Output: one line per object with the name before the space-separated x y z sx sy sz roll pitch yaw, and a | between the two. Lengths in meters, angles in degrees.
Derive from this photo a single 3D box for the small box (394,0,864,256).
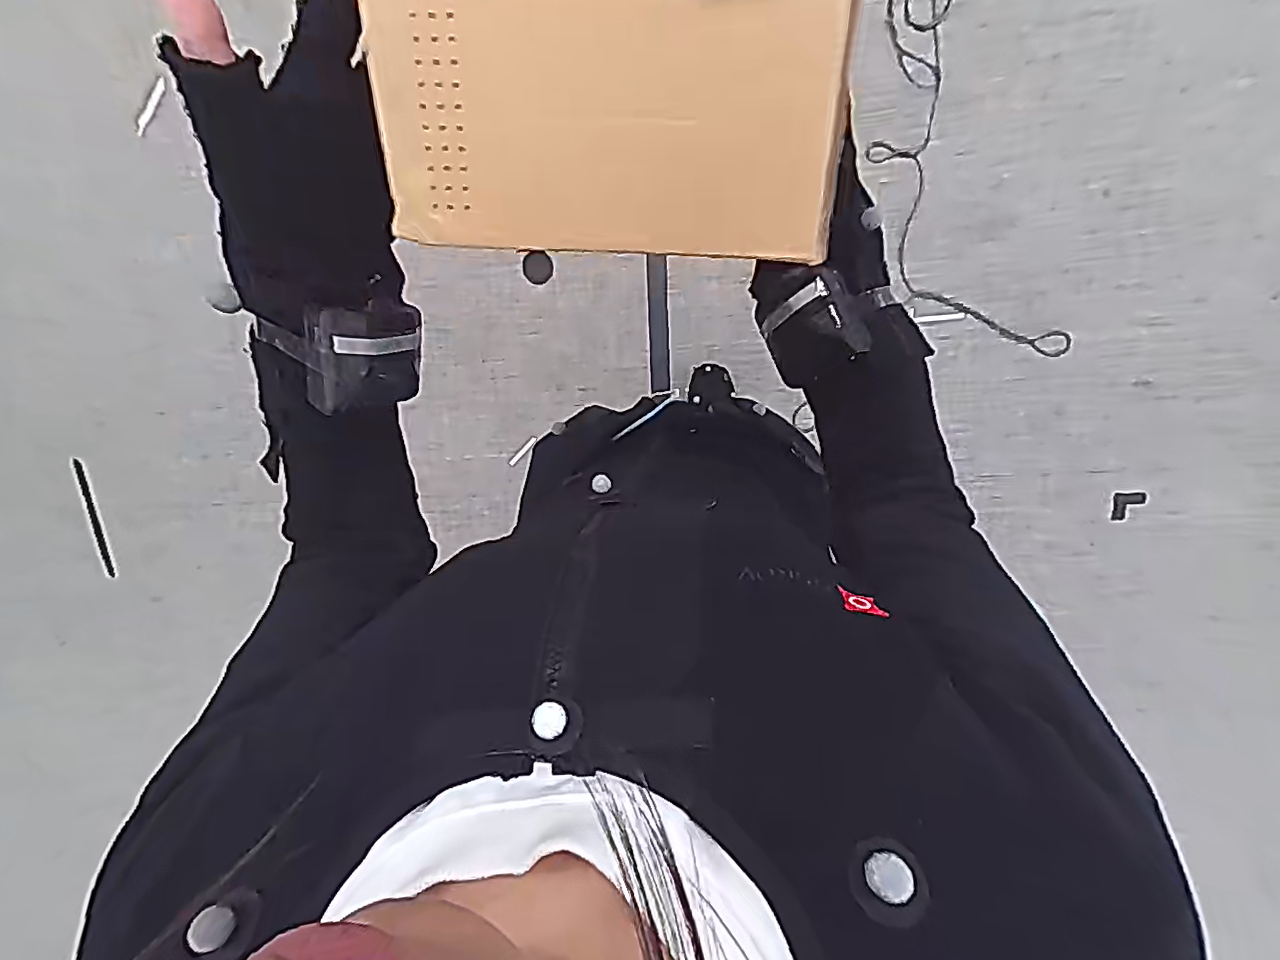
small box | -0.003 -0.203 0.256 0.176 0.168 0.179 4 114 4
